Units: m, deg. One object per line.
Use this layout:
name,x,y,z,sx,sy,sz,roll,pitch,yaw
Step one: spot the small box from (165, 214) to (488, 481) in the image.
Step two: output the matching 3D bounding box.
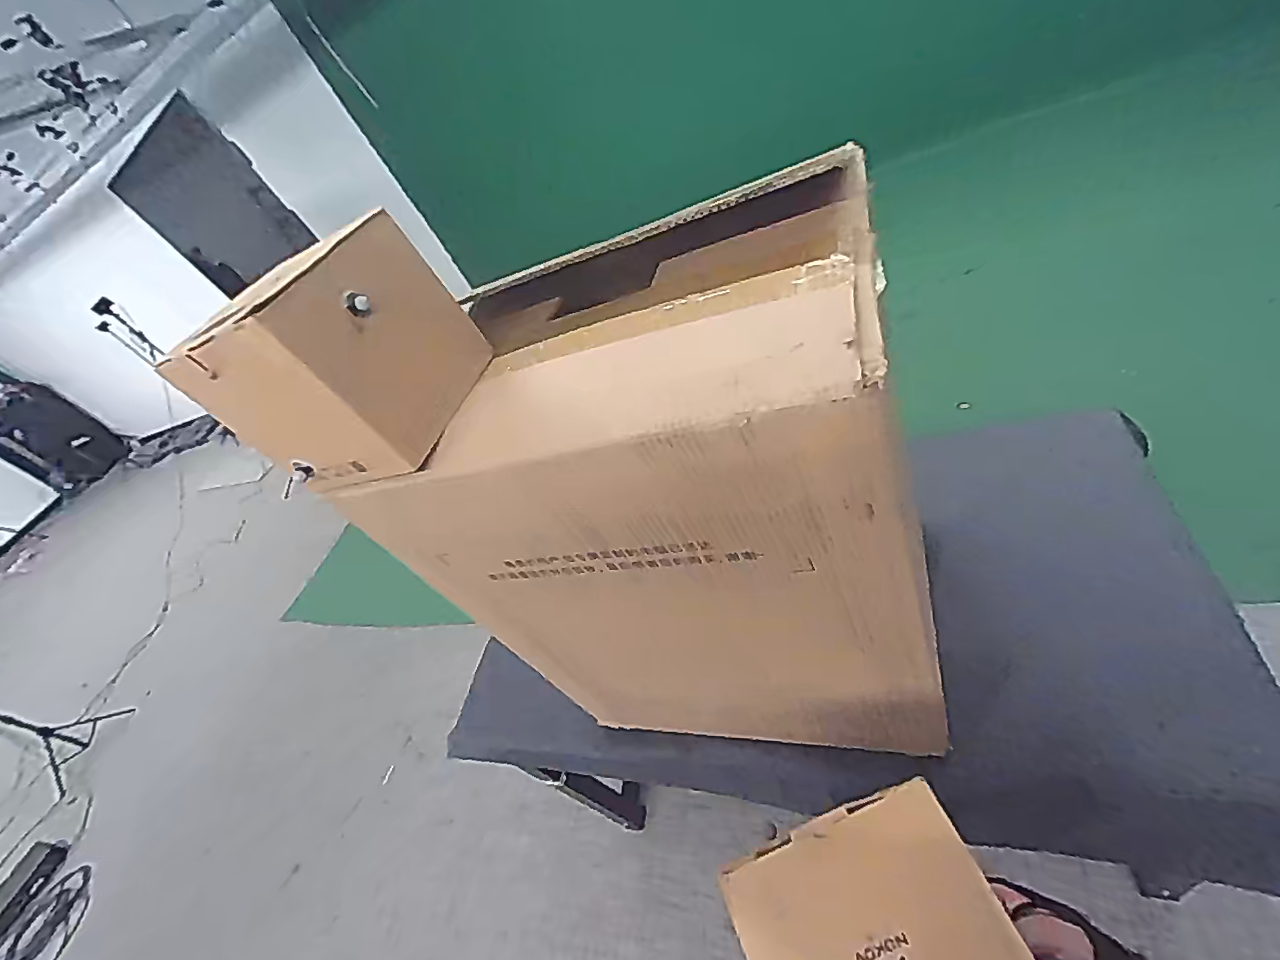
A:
small box,-0.280,-0.112,0.521,0.168,0.176,0.179,-8,45,30

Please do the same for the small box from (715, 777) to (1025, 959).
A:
small box,0.170,0.351,0.402,0.168,0.176,0.179,-24,55,-1
